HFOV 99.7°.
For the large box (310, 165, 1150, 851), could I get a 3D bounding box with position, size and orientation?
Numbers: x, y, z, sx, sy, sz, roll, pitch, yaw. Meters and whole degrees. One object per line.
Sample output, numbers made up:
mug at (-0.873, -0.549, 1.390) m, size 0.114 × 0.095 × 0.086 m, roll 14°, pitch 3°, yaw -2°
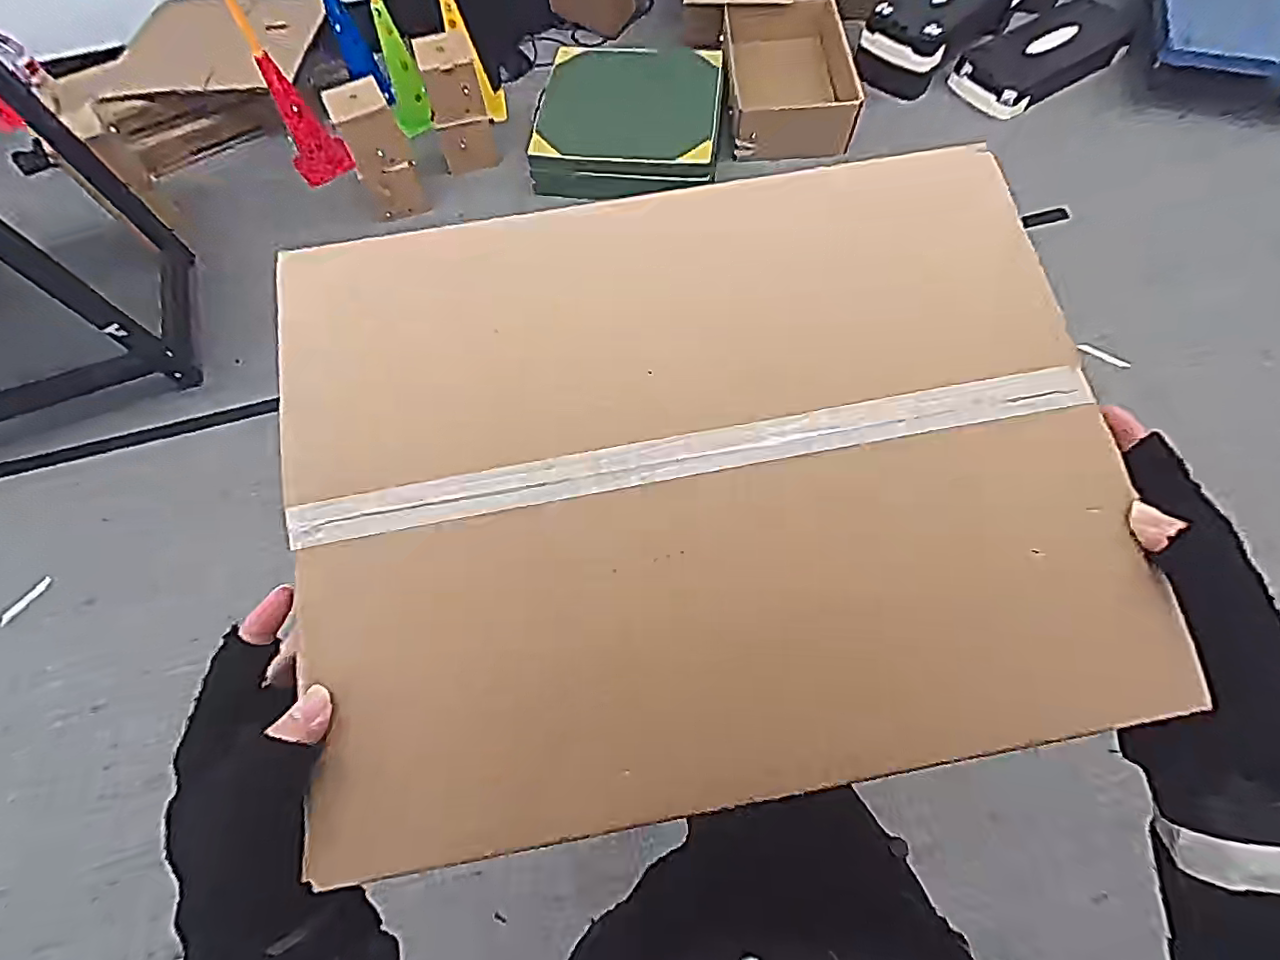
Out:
large box at (0.028, 0.023, 0.434) m, size 0.408 × 0.320 × 0.320 m, roll -11°, pitch 77°, yaw -3°
